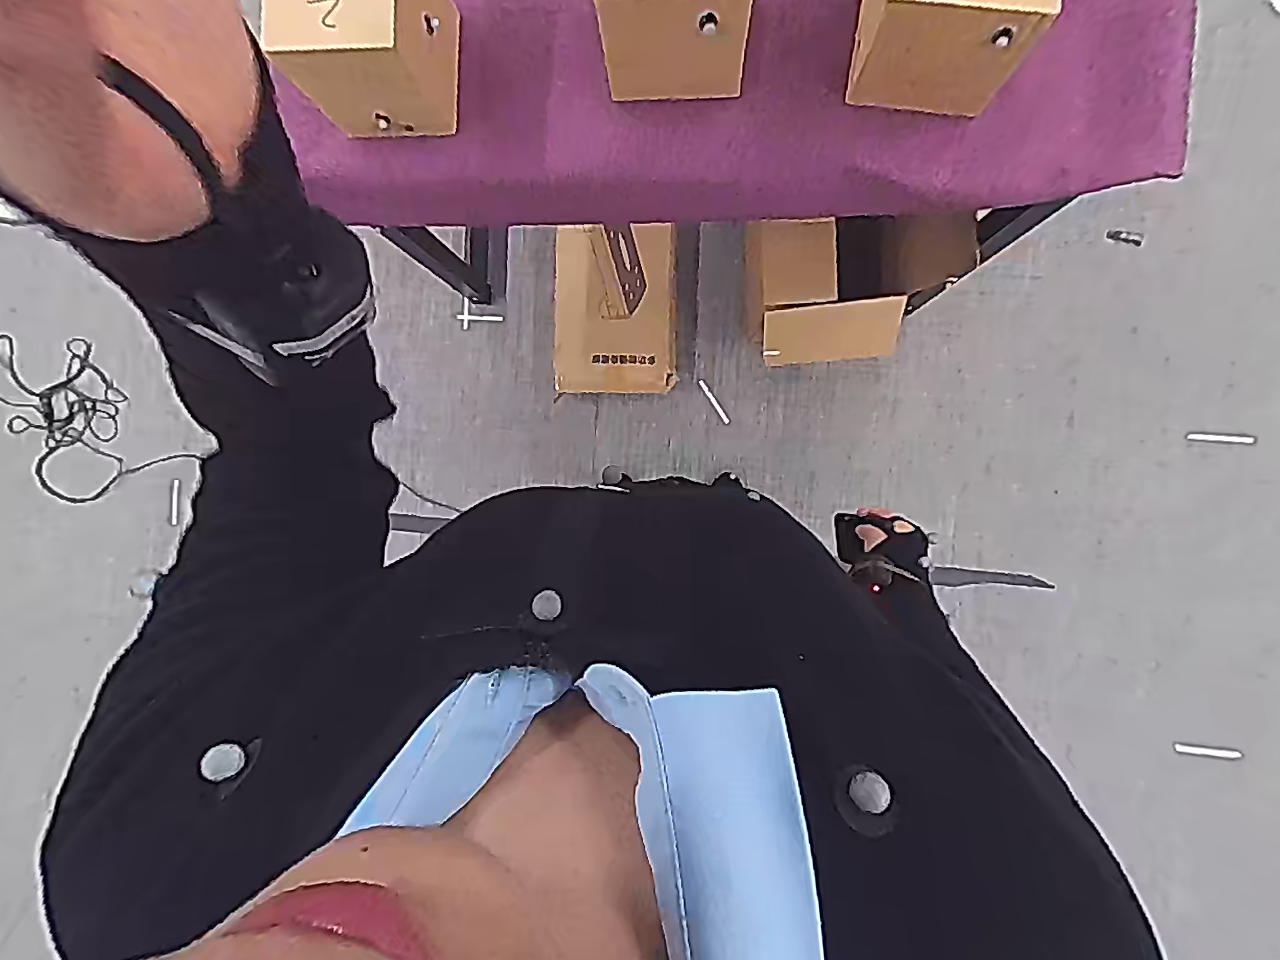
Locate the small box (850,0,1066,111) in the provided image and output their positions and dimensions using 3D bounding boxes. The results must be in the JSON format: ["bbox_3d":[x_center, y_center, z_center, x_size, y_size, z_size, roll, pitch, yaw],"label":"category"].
[{"bbox_3d":[0.364,-0.568,0.630,0.179,0.176,0.168,9,92,5],"label":"small box"}]

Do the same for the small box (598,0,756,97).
[{"bbox_3d":[0.048,-0.602,0.655,0.179,0.176,0.168,2,89,5],"label":"small box"}]
